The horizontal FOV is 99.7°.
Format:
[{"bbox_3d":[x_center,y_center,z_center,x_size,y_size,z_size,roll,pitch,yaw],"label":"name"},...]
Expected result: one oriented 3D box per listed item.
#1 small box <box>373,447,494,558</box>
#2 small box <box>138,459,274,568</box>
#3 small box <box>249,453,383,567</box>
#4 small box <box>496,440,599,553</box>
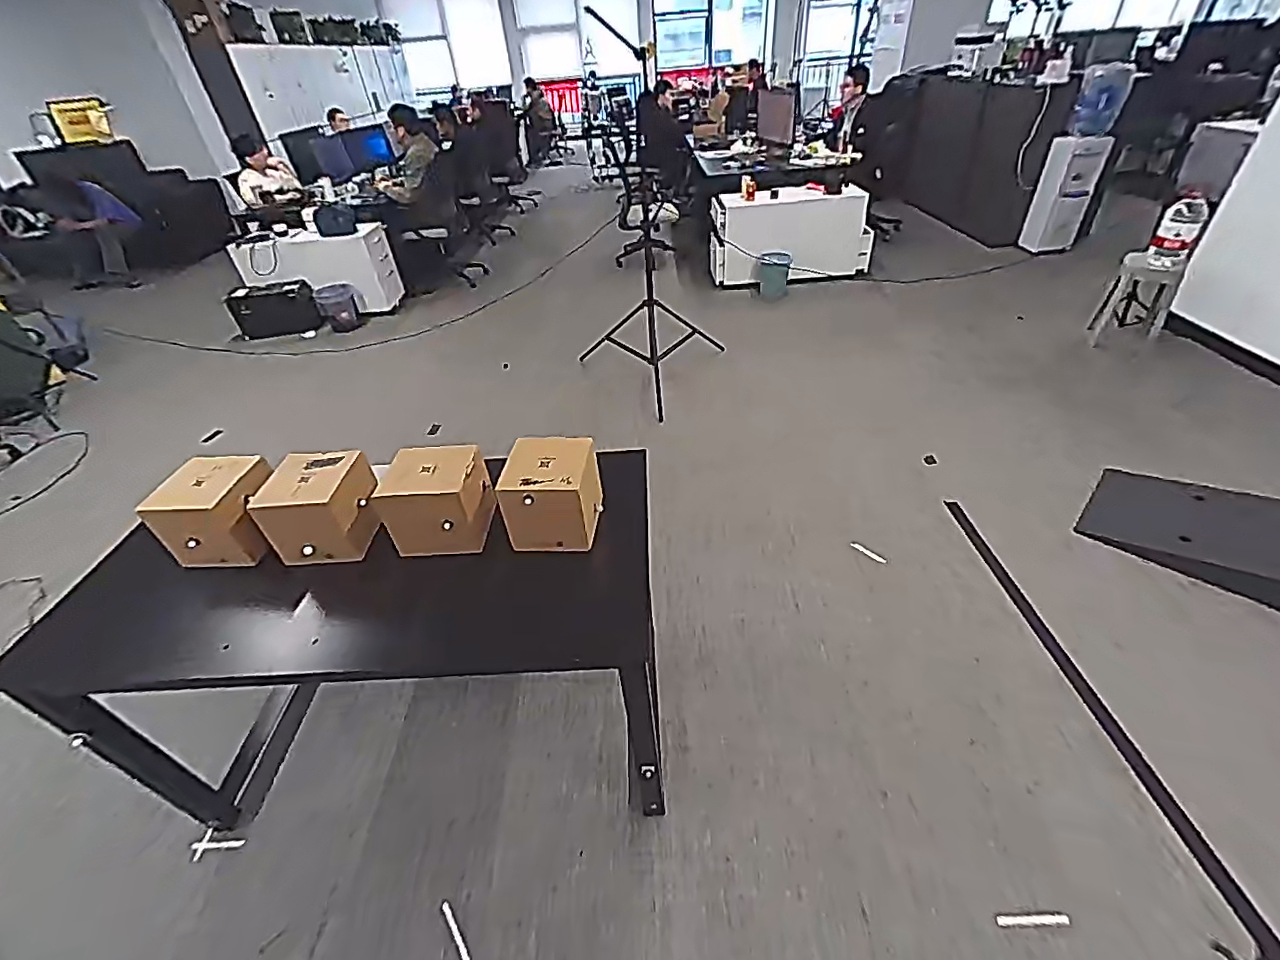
[{"bbox_3d":[-0.423,0.049,1.146,0.179,0.176,0.168,-5,37,3],"label":"small box"},{"bbox_3d":[-0.895,0.075,1.166,0.168,0.176,0.179,-1,38,4],"label":"small box"},{"bbox_3d":[-0.671,0.063,1.153,0.168,0.176,0.179,-4,39,2],"label":"small box"},{"bbox_3d":[-0.183,0.032,1.134,0.168,0.176,0.179,-1,38,7],"label":"small box"}]
